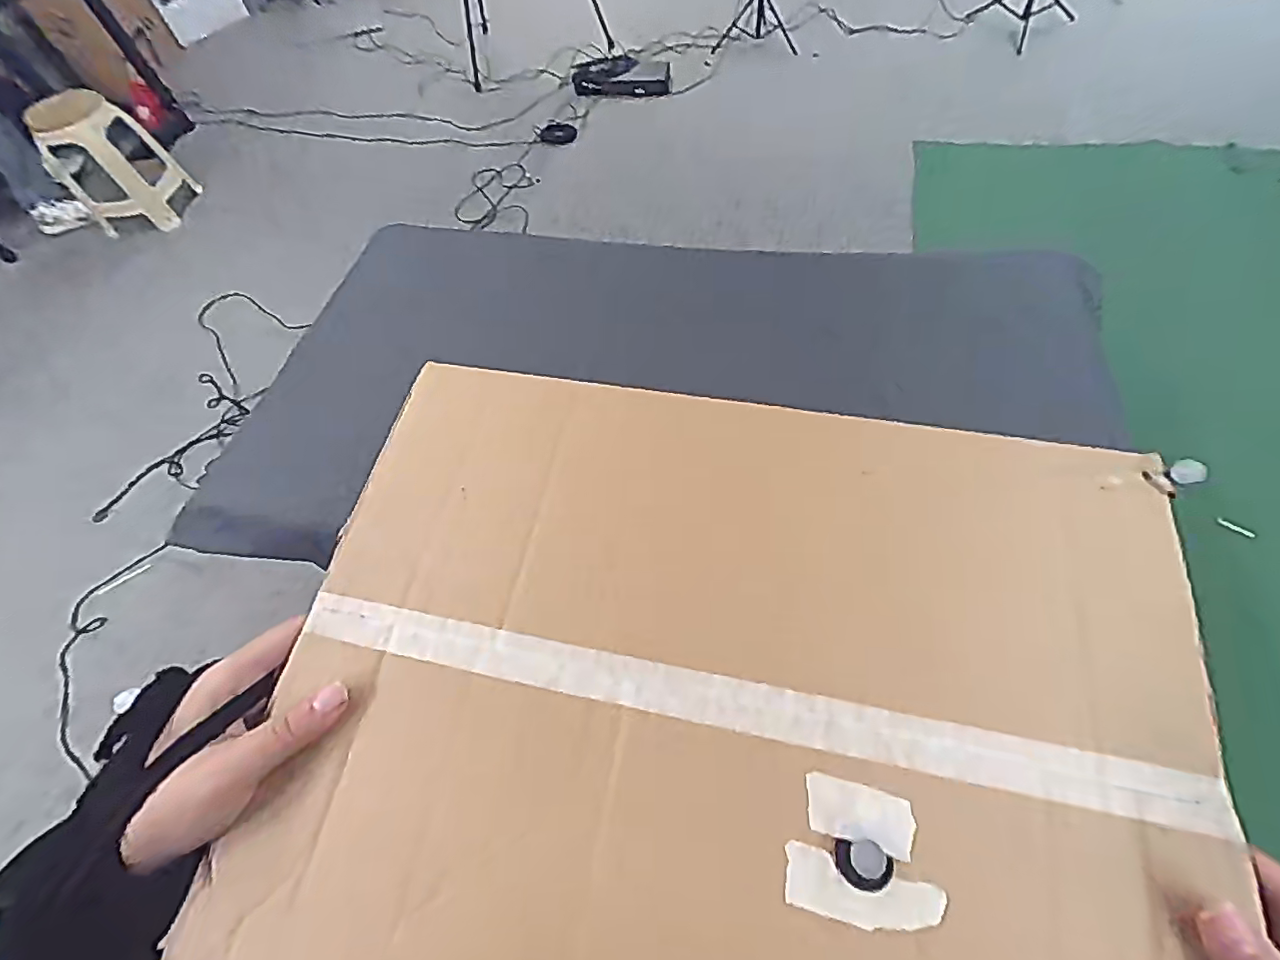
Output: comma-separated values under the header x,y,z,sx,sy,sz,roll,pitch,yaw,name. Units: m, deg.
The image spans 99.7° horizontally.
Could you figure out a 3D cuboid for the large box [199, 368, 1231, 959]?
x,y,z,sx,sy,sz,roll,pitch,yaw,name
0.045,0.151,0.391,0.408,0.320,0.320,8,66,9,large box
